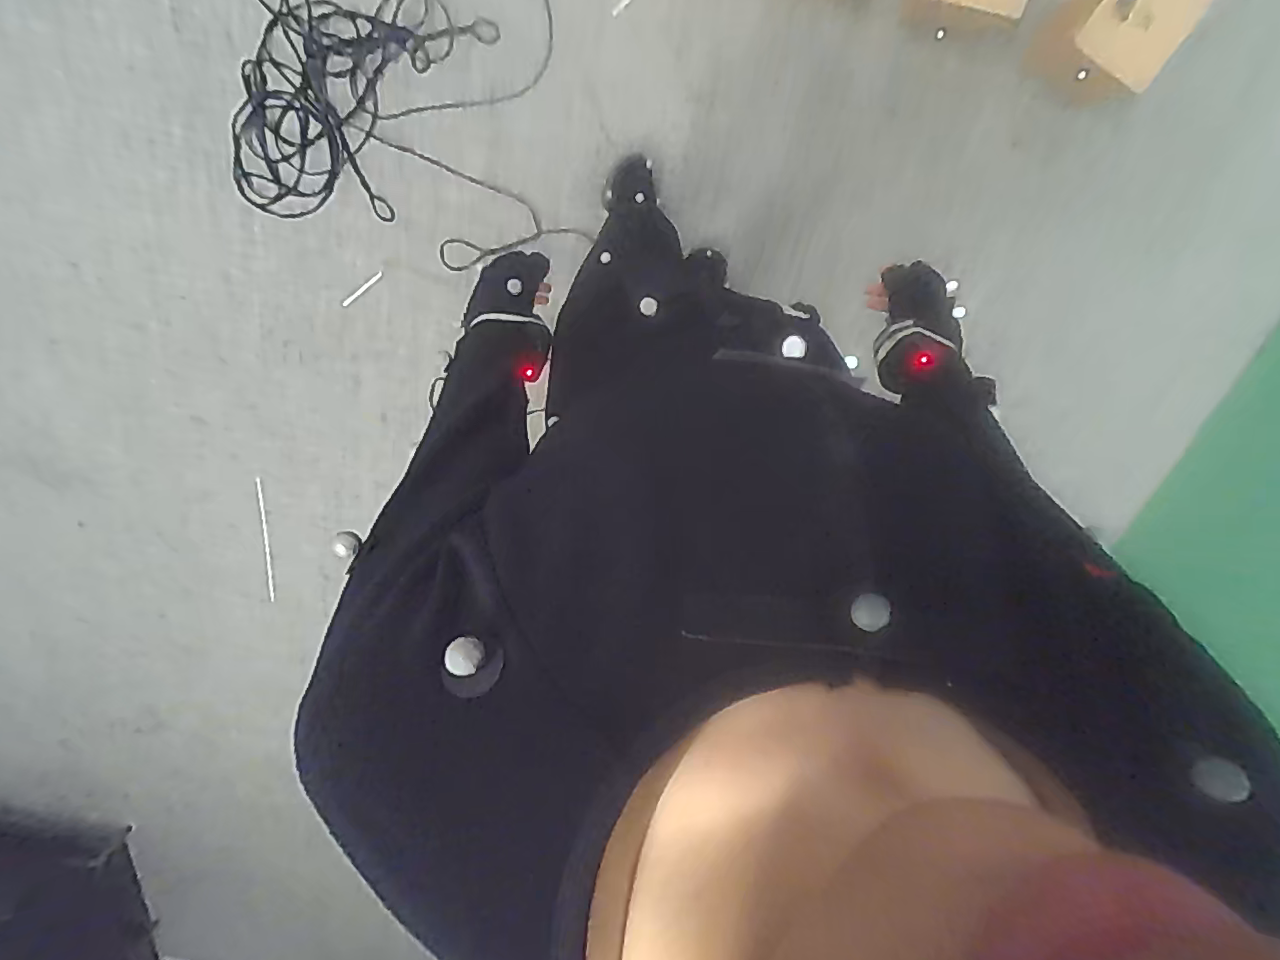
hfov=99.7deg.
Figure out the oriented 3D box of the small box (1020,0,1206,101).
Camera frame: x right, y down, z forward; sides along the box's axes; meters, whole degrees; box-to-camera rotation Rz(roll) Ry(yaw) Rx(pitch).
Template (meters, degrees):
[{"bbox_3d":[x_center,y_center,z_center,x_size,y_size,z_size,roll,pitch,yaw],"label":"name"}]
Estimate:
[{"bbox_3d":[0.878,-0.853,1.021,0.179,0.176,0.168,25,115,-11],"label":"small box"}]
